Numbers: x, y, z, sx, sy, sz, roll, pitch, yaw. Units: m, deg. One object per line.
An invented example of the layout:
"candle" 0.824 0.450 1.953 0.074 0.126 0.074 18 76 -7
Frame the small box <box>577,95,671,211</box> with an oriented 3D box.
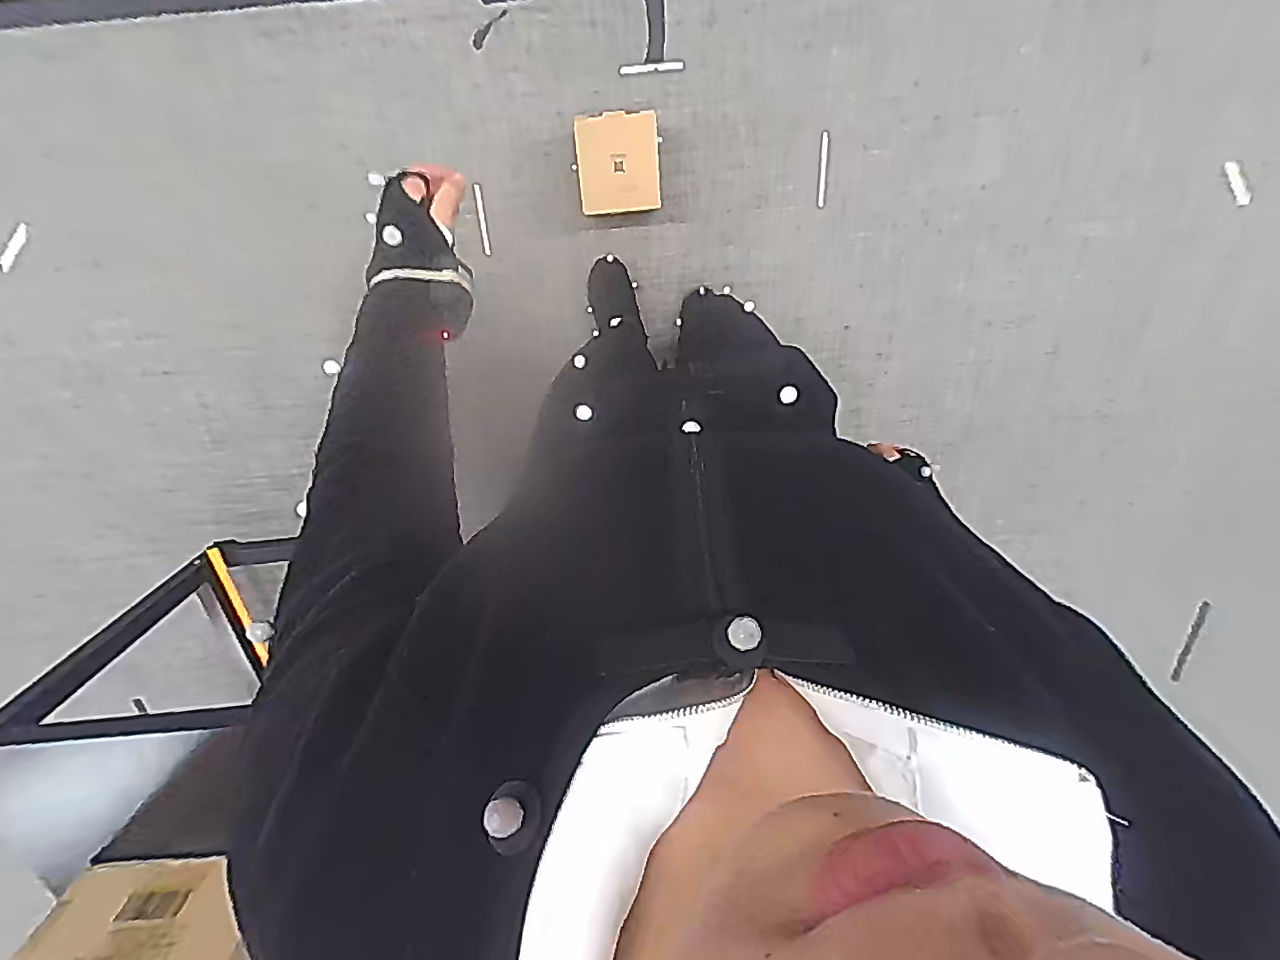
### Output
"small box" -0.031 -0.641 1.079 0.168 0.176 0.179 -6 117 1
